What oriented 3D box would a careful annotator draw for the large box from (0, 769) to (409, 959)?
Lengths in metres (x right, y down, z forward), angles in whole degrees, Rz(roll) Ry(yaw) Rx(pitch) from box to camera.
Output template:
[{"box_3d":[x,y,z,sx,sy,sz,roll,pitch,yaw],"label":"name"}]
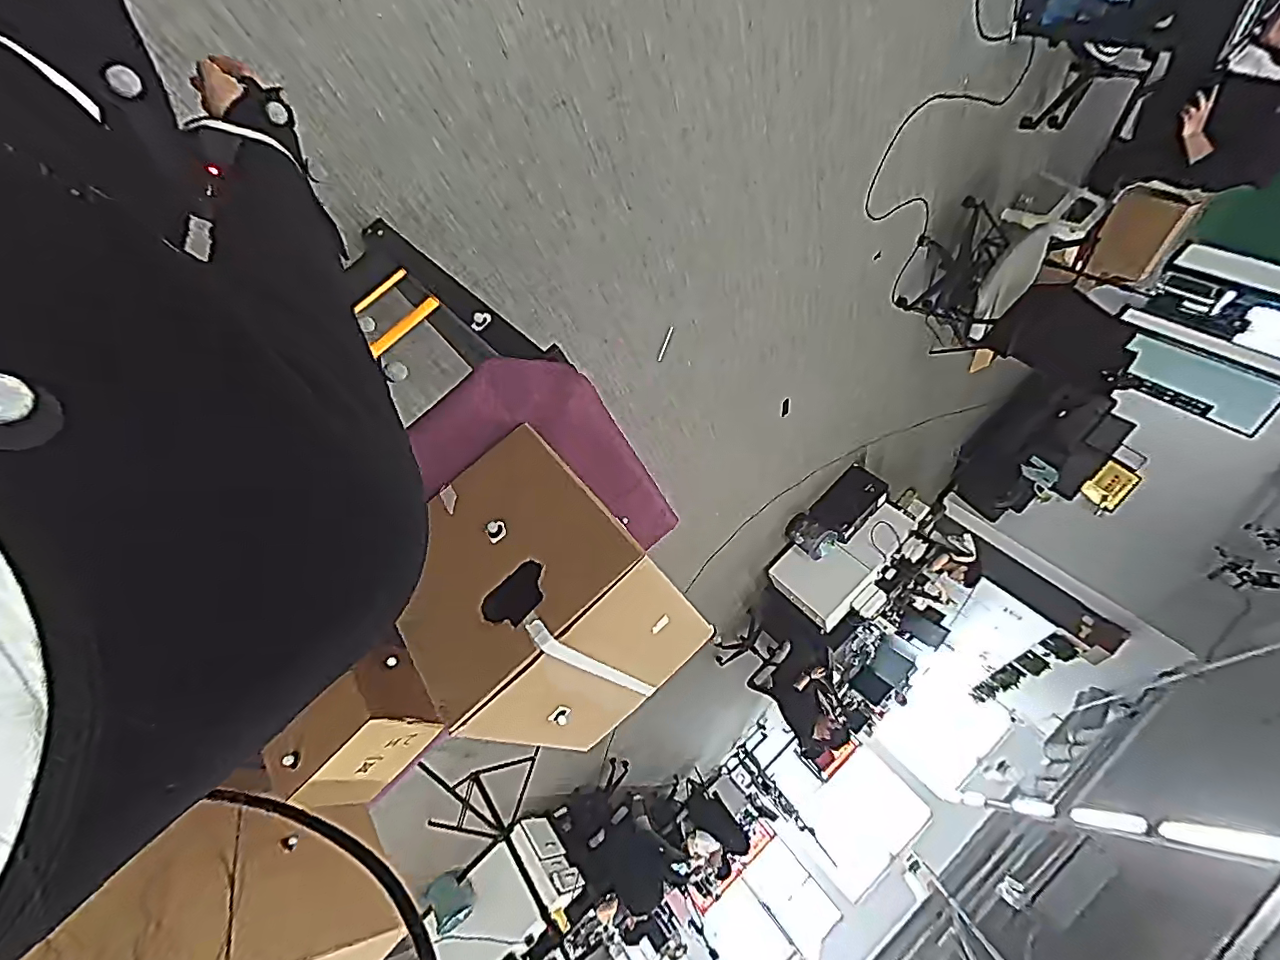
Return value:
[{"box_3d":[-0.648,0.668,0.798,0.320,0.320,0.408,-43,148,-6],"label":"large box"}]
